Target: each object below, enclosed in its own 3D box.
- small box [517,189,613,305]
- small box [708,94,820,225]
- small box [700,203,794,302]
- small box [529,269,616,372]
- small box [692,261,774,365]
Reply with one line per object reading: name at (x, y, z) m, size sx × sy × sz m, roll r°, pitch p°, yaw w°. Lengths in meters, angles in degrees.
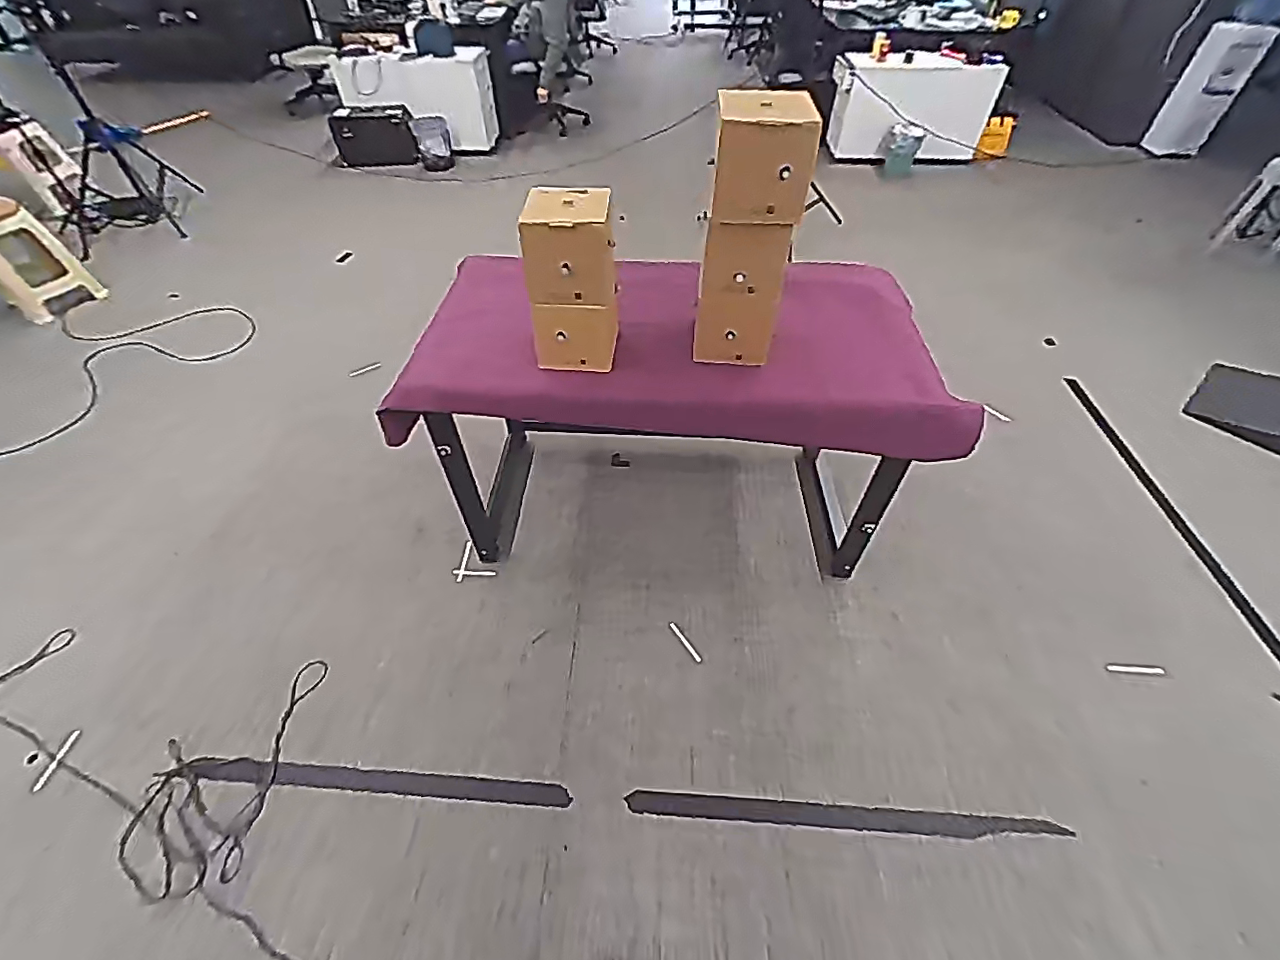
small box at (-0.144, -0.476, 1.110) m, size 0.168 × 0.176 × 0.179 m, roll 2°, pitch 48°, yaw 0°
small box at (0.216, -0.586, 0.991) m, size 0.168 × 0.176 × 0.179 m, roll 2°, pitch 48°, yaw 1°
small box at (0.214, -0.495, 1.127) m, size 0.168 × 0.176 × 0.179 m, roll 4°, pitch 49°, yaw 4°
small box at (-0.144, -0.362, 1.228) m, size 0.168 × 0.176 × 0.179 m, roll 3°, pitch 47°, yaw 2°
small box at (0.211, -0.384, 1.248) m, size 0.168 × 0.176 × 0.179 m, roll 5°, pitch 48°, yaw 3°
